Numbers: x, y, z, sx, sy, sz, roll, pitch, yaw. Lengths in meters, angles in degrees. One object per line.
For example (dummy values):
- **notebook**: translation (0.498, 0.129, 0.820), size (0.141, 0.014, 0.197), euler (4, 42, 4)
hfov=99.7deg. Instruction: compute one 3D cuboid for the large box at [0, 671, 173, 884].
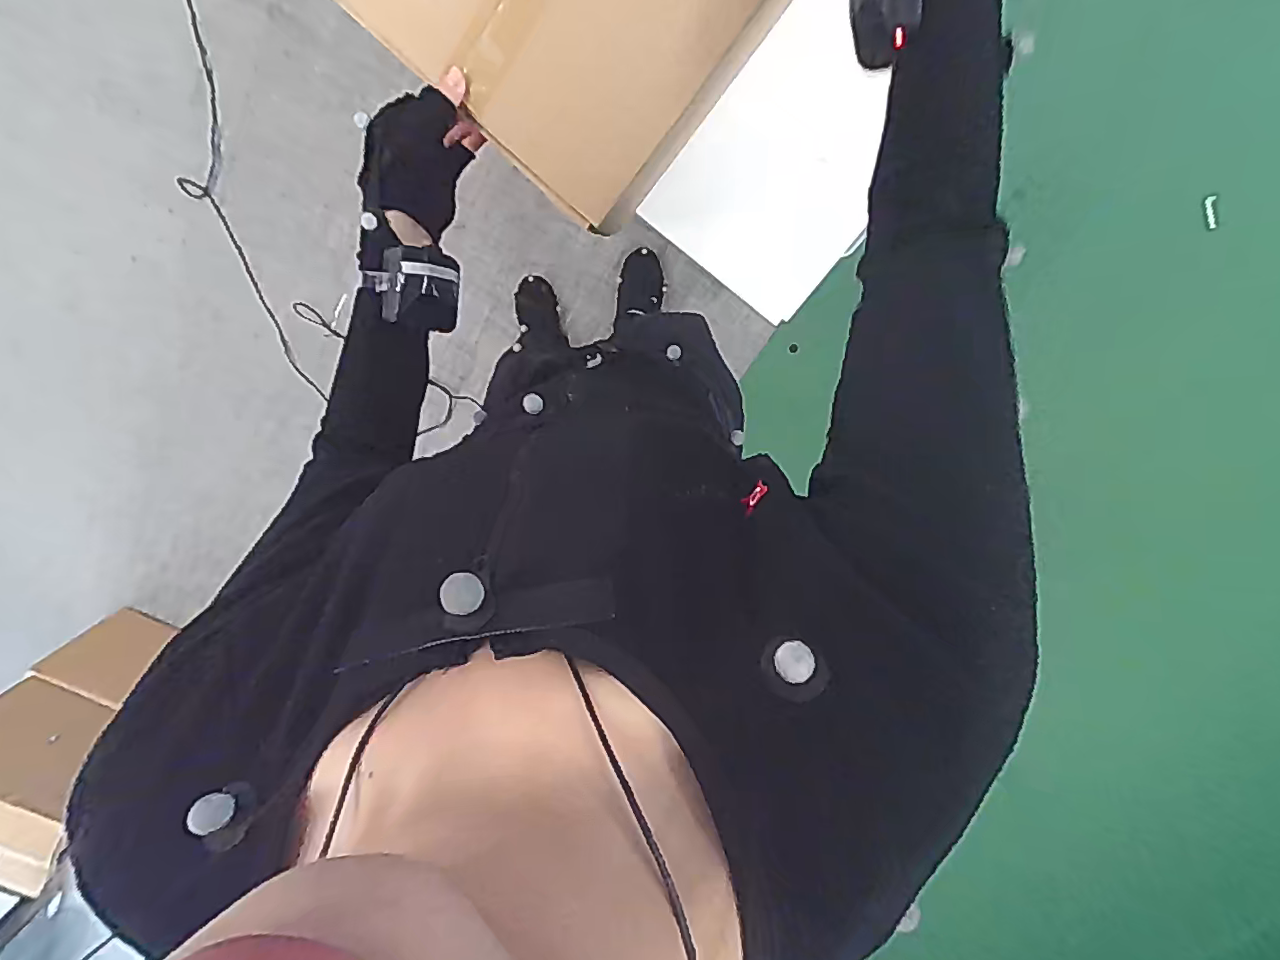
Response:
- **large box**: translation (-1.666, 0.814, 1.511), size (0.408, 0.320, 0.320), euler (31, 107, -10)
